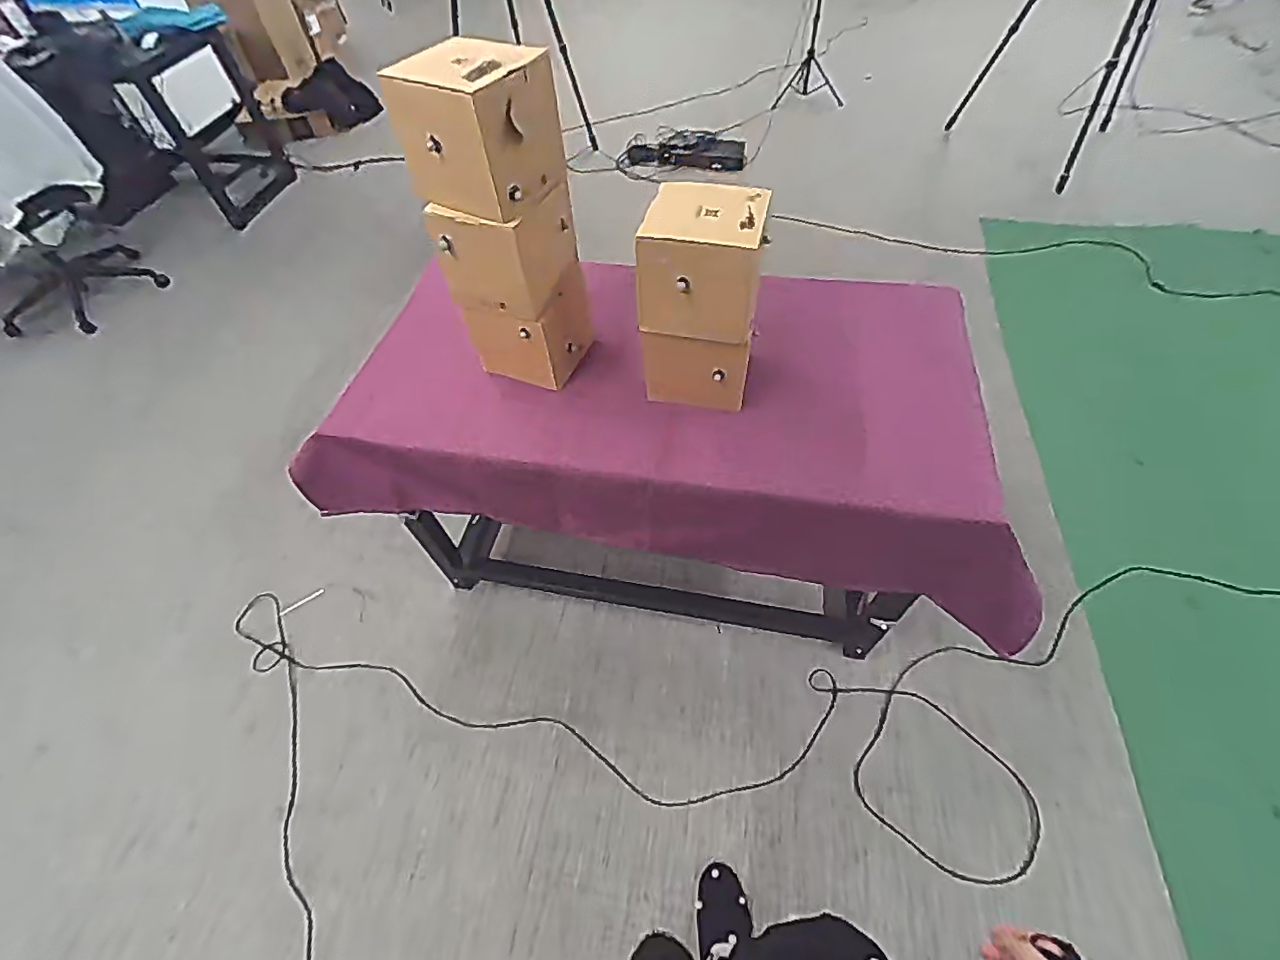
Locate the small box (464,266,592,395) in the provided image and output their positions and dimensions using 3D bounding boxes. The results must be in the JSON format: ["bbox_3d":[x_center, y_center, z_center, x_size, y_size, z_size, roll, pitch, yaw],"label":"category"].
[{"bbox_3d":[-0.211,-0.293,1.074,0.179,0.176,0.168,17,56,15],"label":"small box"}]

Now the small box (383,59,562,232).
[{"bbox_3d":[-0.238,-0.504,0.822,0.179,0.176,0.168,23,57,20],"label":"small box"}]

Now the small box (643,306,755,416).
[{"bbox_3d":[0.111,-0.239,1.009,0.179,0.176,0.168,9,53,11],"label":"small box"}]

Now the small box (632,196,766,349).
[{"bbox_3d":[0.098,-0.333,0.875,0.179,0.176,0.168,10,55,12],"label":"small box"}]
